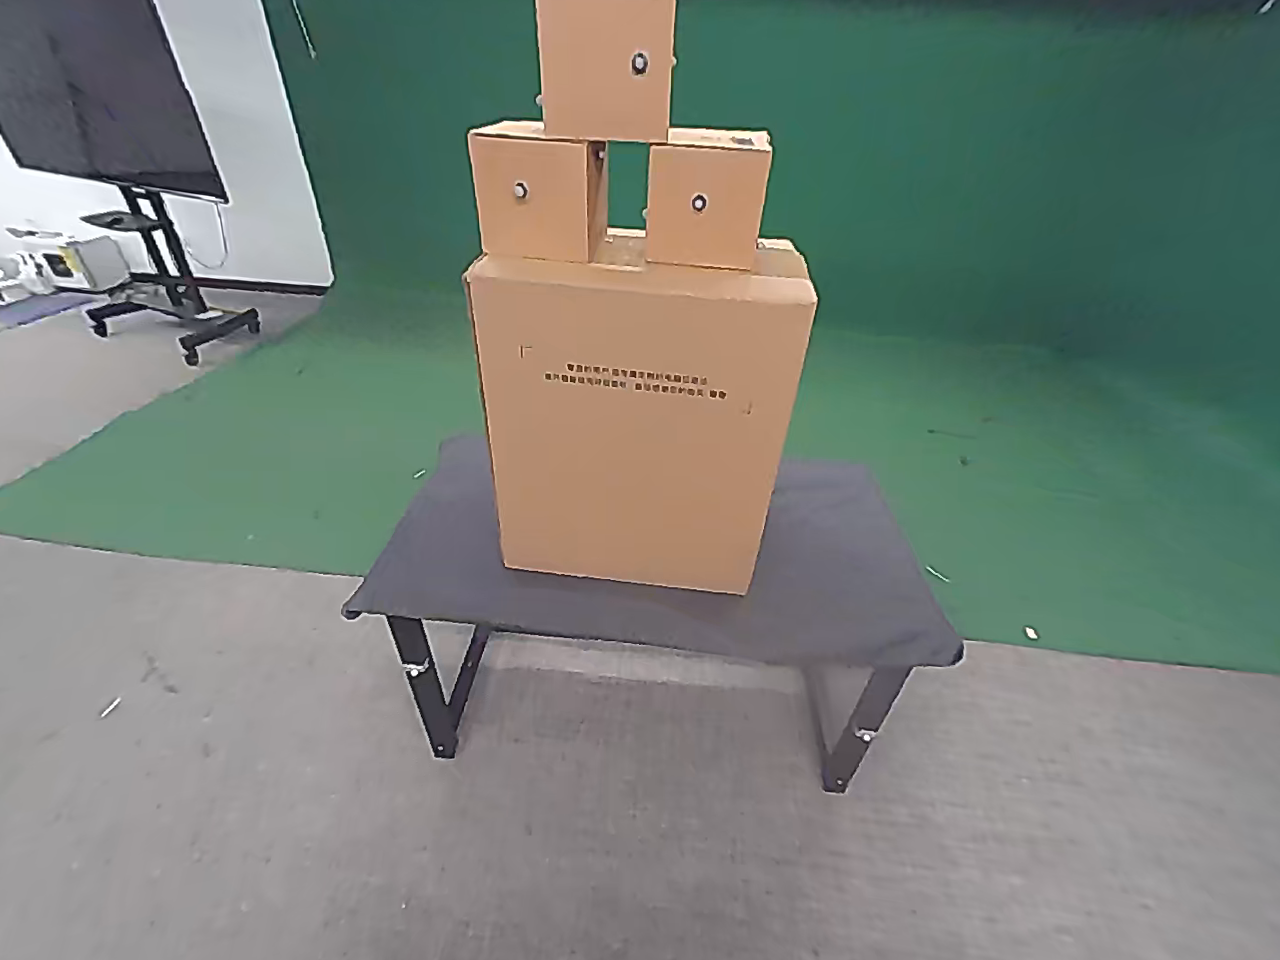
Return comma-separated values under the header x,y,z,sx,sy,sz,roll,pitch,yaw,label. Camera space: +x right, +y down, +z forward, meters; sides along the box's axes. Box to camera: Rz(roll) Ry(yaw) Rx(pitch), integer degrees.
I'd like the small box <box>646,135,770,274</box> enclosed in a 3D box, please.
x,y,z,sx,sy,sz,roll,pitch,yaw,label
0.107,-0.446,0.877,0.179,0.176,0.168,6,40,6,small box

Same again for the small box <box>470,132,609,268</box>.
x,y,z,sx,sy,sz,roll,pitch,yaw,label
-0.151,-0.455,0.880,0.179,0.176,0.168,7,40,5,small box

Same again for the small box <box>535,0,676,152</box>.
x,y,z,sx,sy,sz,roll,pitch,yaw,label
-0.047,-0.577,0.776,0.179,0.176,0.168,-1,38,-3,small box
